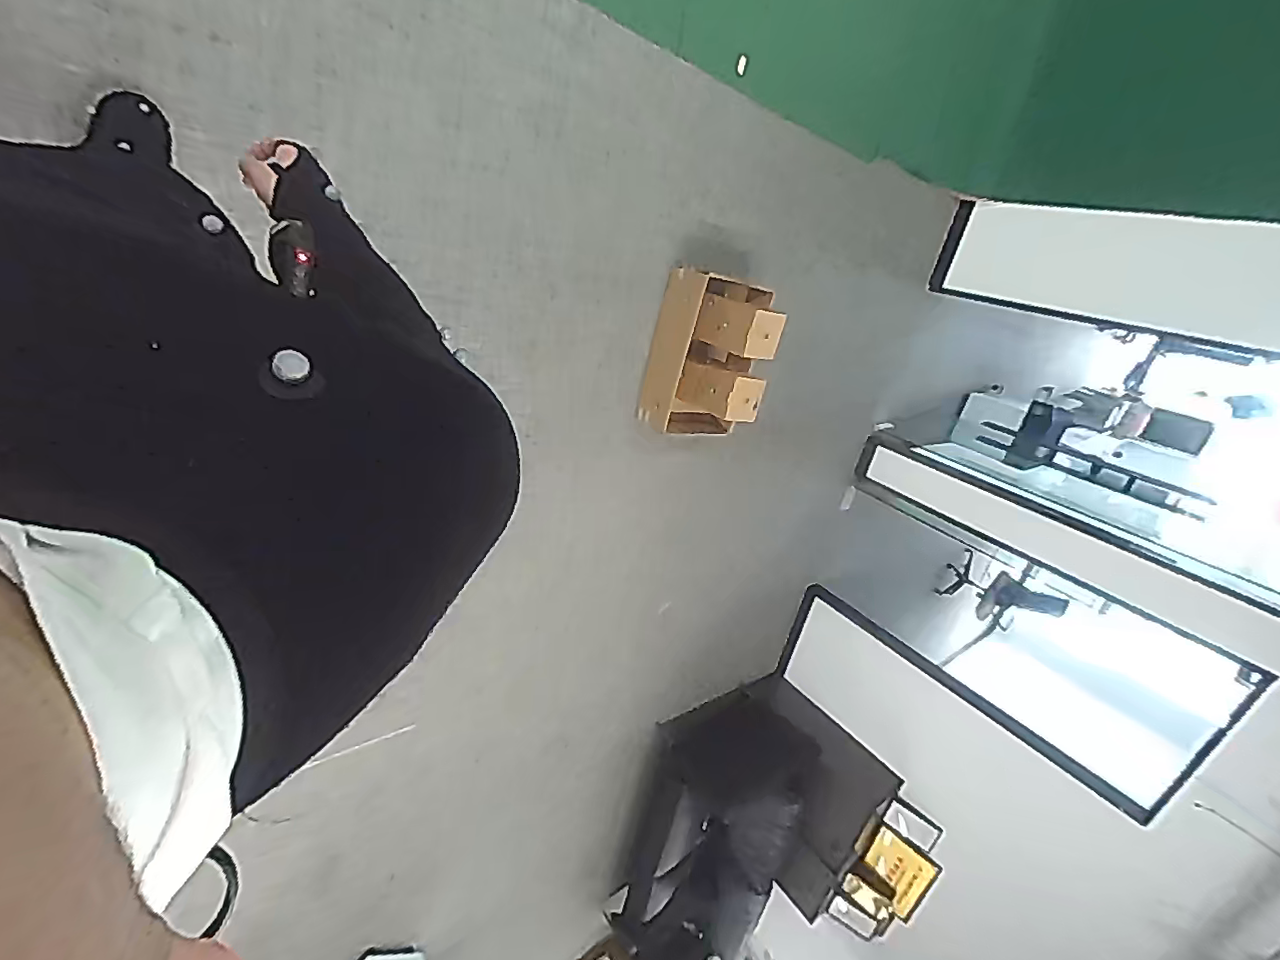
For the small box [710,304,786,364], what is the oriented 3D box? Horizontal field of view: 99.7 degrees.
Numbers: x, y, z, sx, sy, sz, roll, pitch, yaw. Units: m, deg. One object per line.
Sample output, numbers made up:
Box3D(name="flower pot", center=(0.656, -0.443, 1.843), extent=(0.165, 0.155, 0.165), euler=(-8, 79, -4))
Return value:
Box3D(name="small box", center=(0.386, -0.527, 1.948), extent=(0.179, 0.176, 0.168), euler=(-5, 119, -39))
